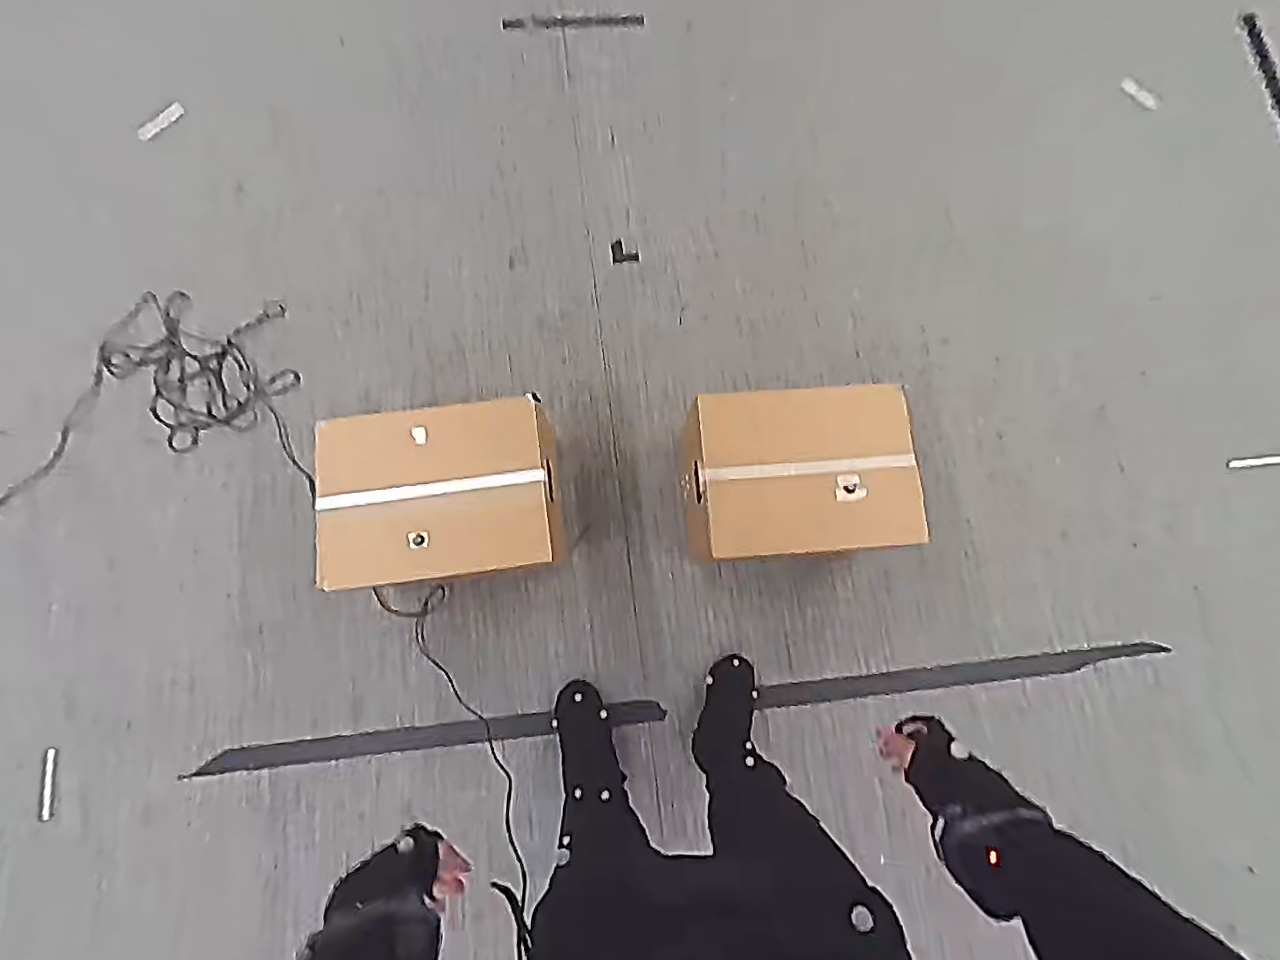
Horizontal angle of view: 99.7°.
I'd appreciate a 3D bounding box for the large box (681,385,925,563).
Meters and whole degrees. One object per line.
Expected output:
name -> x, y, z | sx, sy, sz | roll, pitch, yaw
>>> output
large box -> 0.315, 0.004, 1.167 | 0.408, 0.320, 0.320 | -3, 80, -3
